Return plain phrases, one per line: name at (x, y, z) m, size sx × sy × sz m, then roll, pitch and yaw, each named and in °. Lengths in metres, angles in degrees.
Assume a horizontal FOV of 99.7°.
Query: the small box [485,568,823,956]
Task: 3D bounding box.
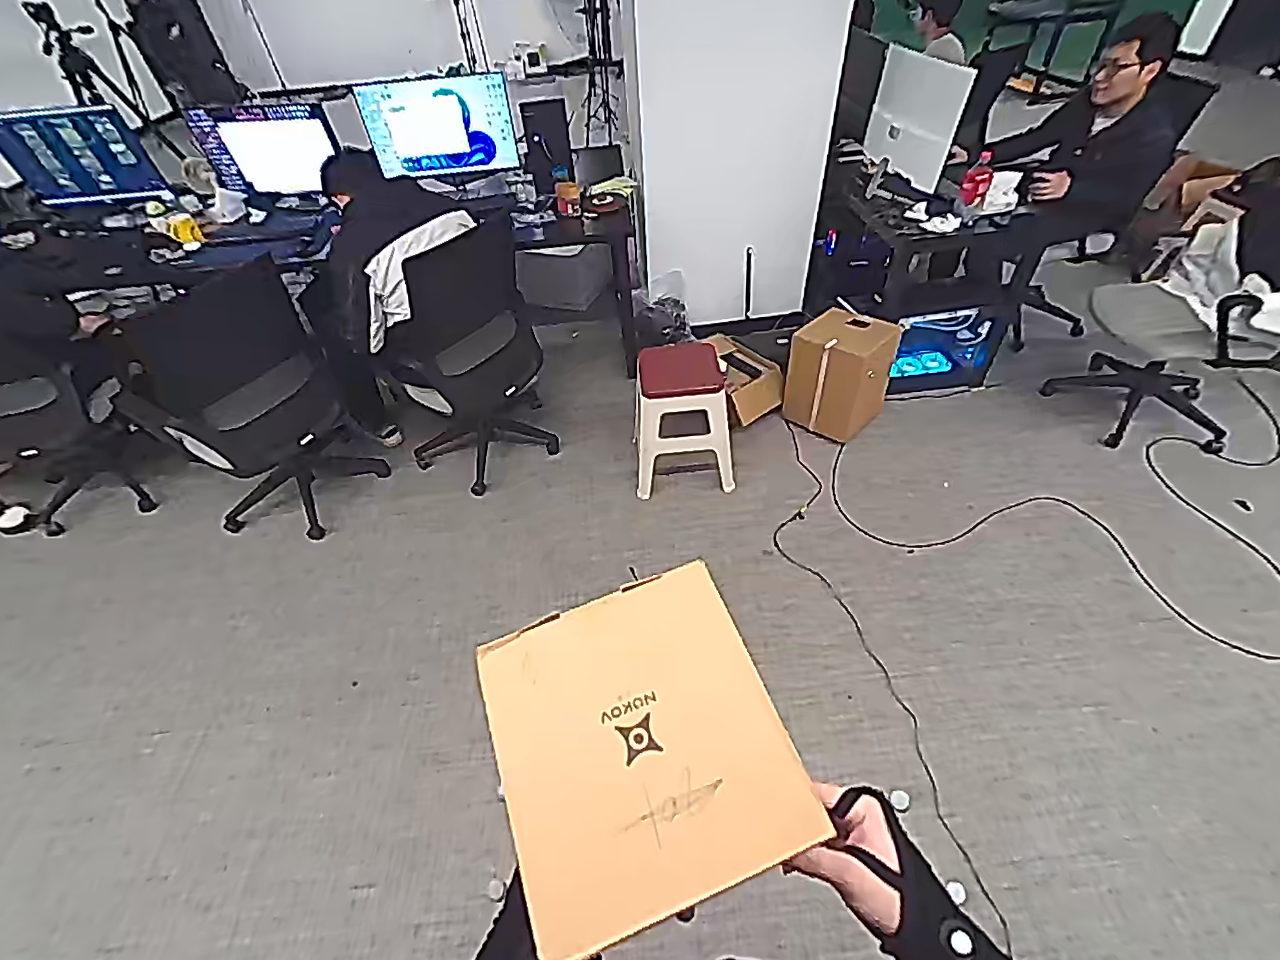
small box at (0.003, 0.197, 0.400) m, size 0.168 × 0.176 × 0.179 m, roll -20°, pitch 59°, yaw -7°
